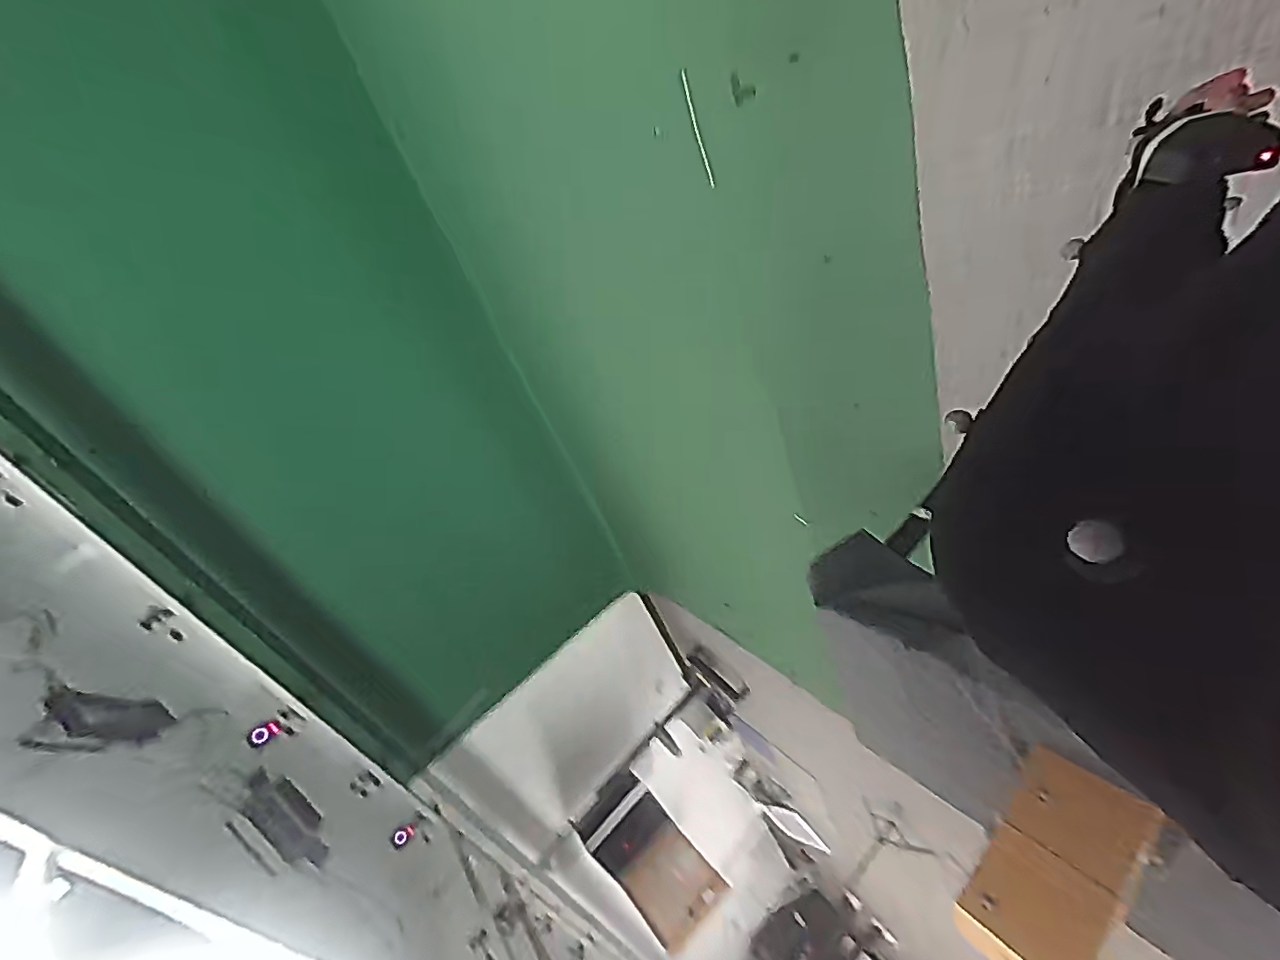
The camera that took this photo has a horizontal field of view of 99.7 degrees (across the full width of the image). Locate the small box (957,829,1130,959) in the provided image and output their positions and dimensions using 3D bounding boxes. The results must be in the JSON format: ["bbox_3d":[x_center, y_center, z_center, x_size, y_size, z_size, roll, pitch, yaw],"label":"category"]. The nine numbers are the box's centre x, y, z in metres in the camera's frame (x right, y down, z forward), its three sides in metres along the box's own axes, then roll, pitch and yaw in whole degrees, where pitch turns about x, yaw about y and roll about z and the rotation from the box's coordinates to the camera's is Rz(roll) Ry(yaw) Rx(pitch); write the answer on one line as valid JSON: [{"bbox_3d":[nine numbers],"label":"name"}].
[{"bbox_3d":[0.650,0.722,0.876,0.179,0.176,0.168,24,147,51],"label":"small box"}]

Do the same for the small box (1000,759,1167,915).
[{"bbox_3d":[0.762,0.623,0.939,0.179,0.176,0.168,21,144,52],"label":"small box"}]
